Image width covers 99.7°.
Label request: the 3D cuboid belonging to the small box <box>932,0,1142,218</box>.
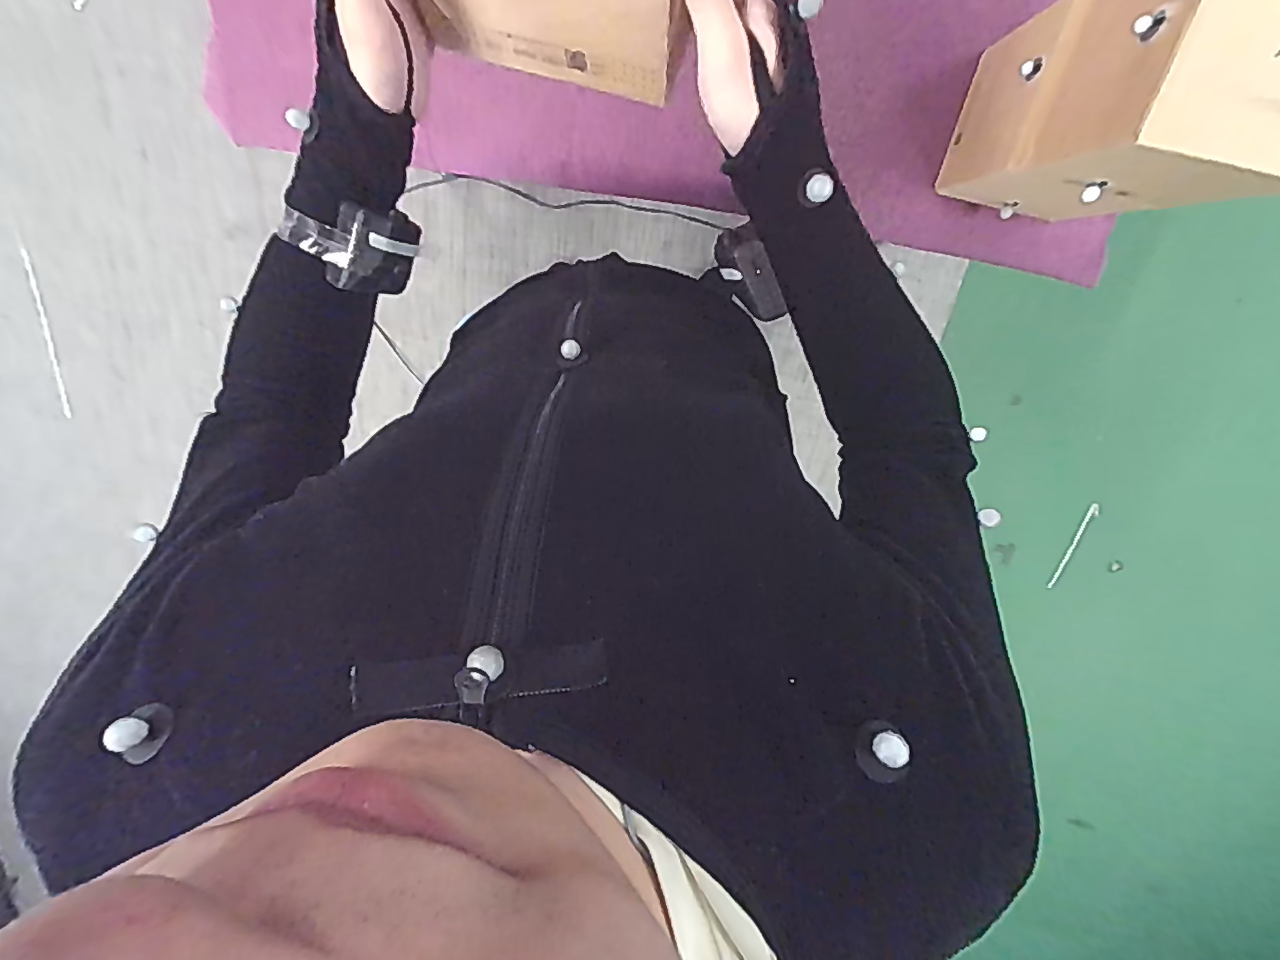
[{"bbox_3d":[0.494,-0.420,0.640,0.179,0.176,0.168,11,110,-4],"label":"small box"}]

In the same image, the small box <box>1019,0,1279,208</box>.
[{"bbox_3d":[0.494,-0.364,0.486,0.168,0.176,0.179,12,111,-2],"label":"small box"}]
